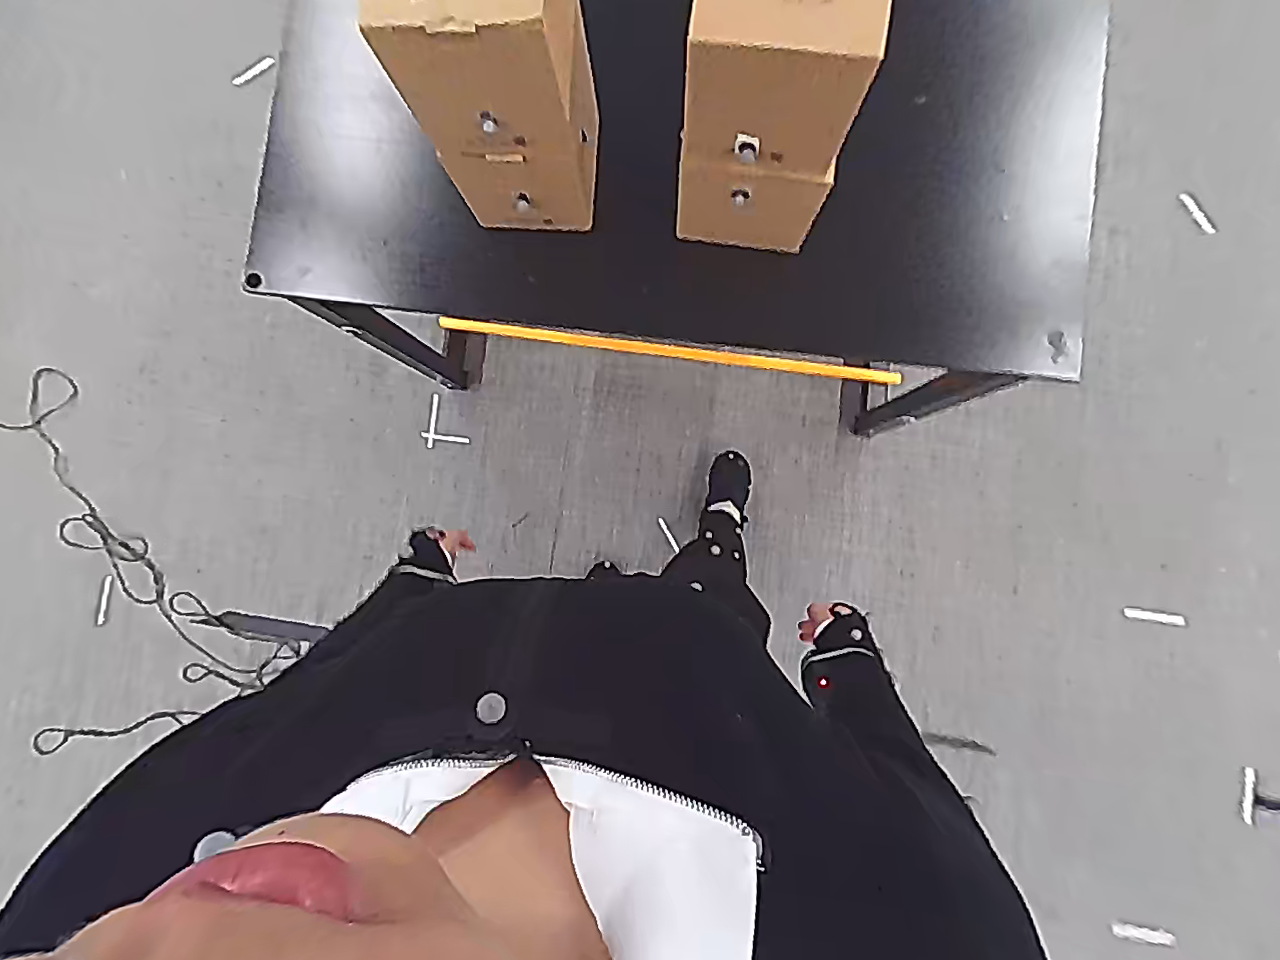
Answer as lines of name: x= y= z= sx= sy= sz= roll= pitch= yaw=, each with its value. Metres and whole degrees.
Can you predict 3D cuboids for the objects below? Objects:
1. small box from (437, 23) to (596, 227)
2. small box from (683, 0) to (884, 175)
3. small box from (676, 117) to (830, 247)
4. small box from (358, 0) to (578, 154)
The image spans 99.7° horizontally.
small box: x=-0.153 y=-0.461 z=0.722 sx=0.168 sy=0.176 sz=0.179 roll=3 pitch=87 yaw=3
small box: x=0.135 y=-0.446 z=0.543 sx=0.168 sy=0.176 sz=0.179 roll=7 pitch=88 yaw=5
small box: x=0.144 y=-0.426 z=0.705 sx=0.179 sy=0.176 sz=0.168 roll=9 pitch=87 yaw=3
small box: x=-0.160 y=-0.475 z=0.556 sx=0.168 sy=0.176 sz=0.179 roll=1 pitch=86 yaw=3
